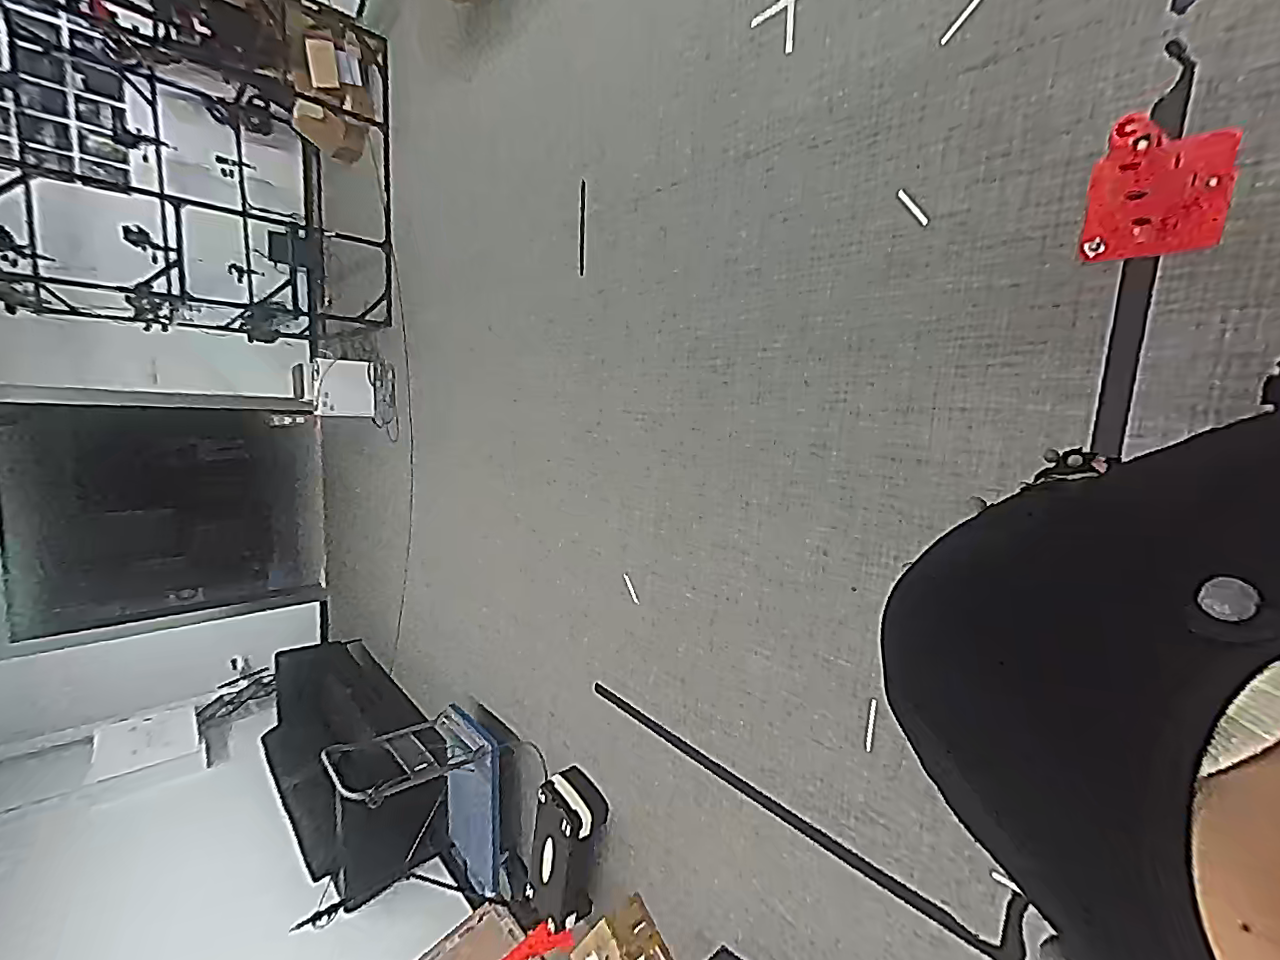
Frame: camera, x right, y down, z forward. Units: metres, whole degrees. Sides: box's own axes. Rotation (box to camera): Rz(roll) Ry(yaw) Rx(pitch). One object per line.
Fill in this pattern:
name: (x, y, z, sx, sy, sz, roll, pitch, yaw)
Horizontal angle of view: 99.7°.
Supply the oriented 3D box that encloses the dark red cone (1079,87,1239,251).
dark red cone: (0.814, -0.521, 0.871, 0.201, 0.394, 0.202, 11, 101, 46)
